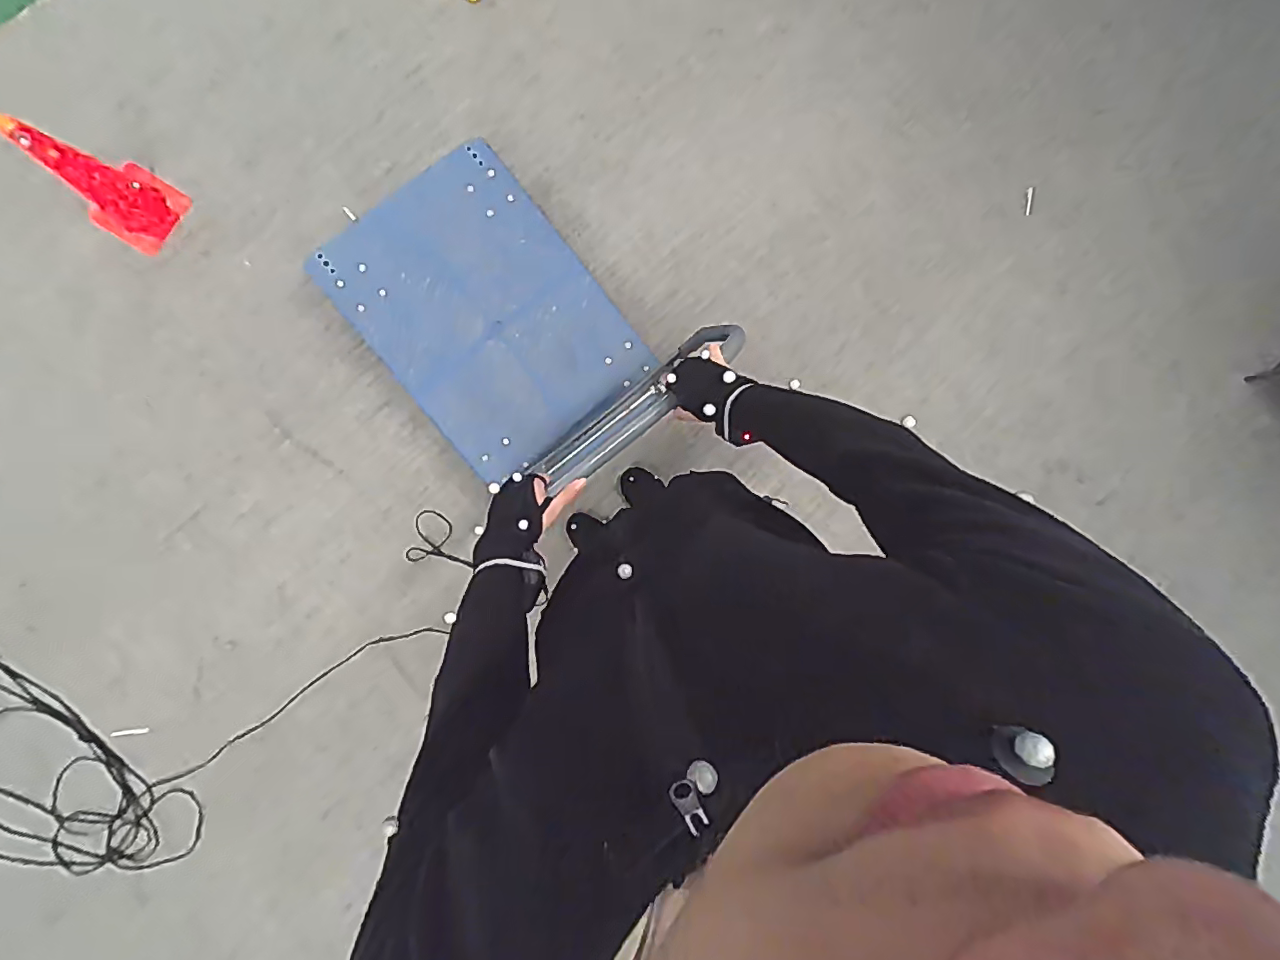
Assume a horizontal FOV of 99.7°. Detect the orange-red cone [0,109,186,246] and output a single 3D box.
[{"bbox_3d":[-1.371,-0.769,1.322,0.198,0.360,0.199,34,88,-4],"label":"orange-red cone"}]
